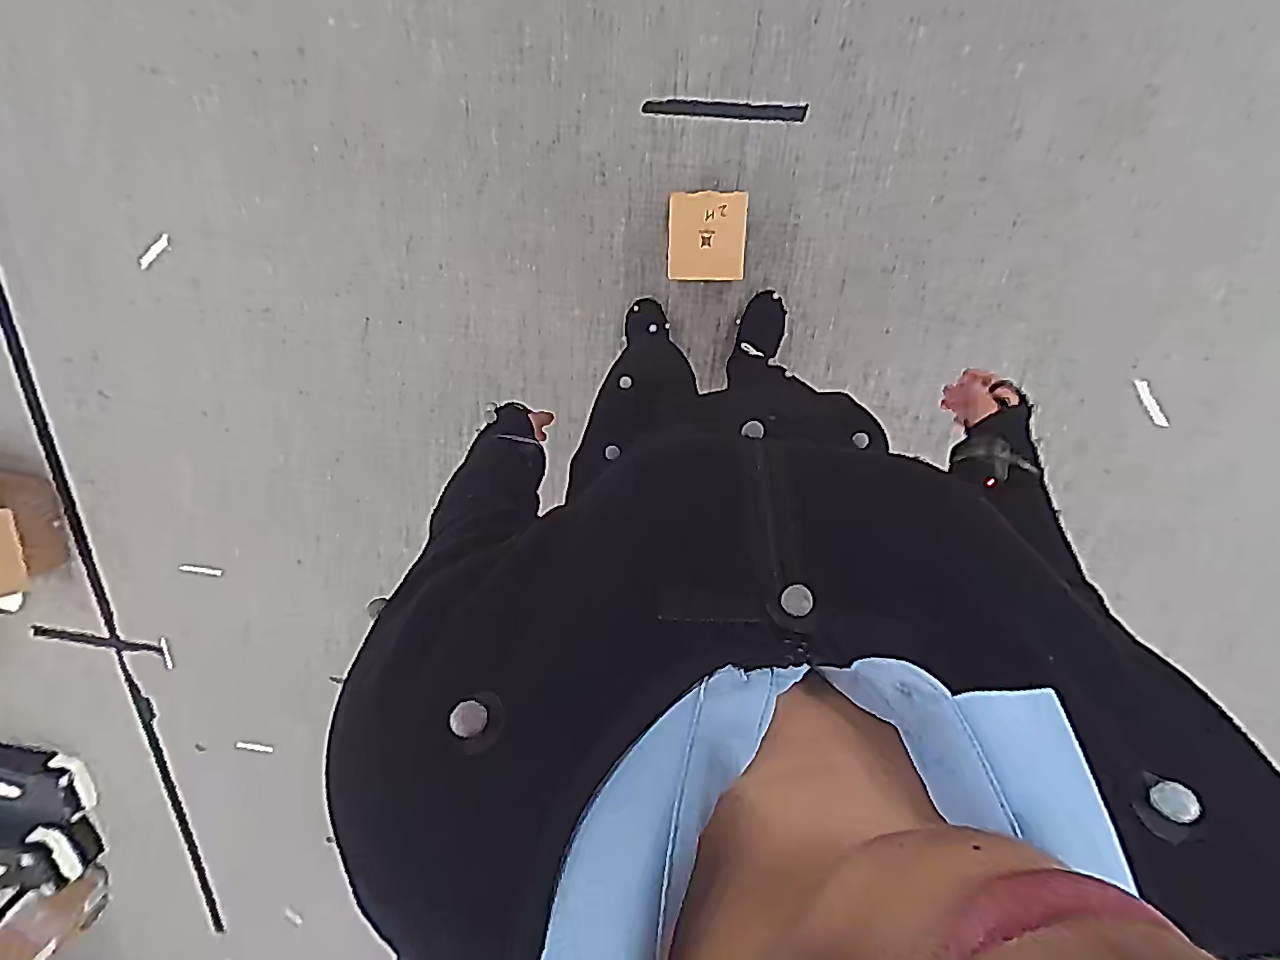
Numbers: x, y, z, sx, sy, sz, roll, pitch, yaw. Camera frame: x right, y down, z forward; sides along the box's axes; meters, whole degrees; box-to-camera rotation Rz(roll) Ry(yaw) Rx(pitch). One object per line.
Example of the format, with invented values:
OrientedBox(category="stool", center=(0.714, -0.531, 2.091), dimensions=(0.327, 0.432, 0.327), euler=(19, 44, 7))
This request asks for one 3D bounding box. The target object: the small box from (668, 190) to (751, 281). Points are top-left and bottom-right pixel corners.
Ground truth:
OrientedBox(category="small box", center=(0.155, -0.548, 1.223), dimensions=(0.168, 0.176, 0.179), euler=(3, 111, 5))
